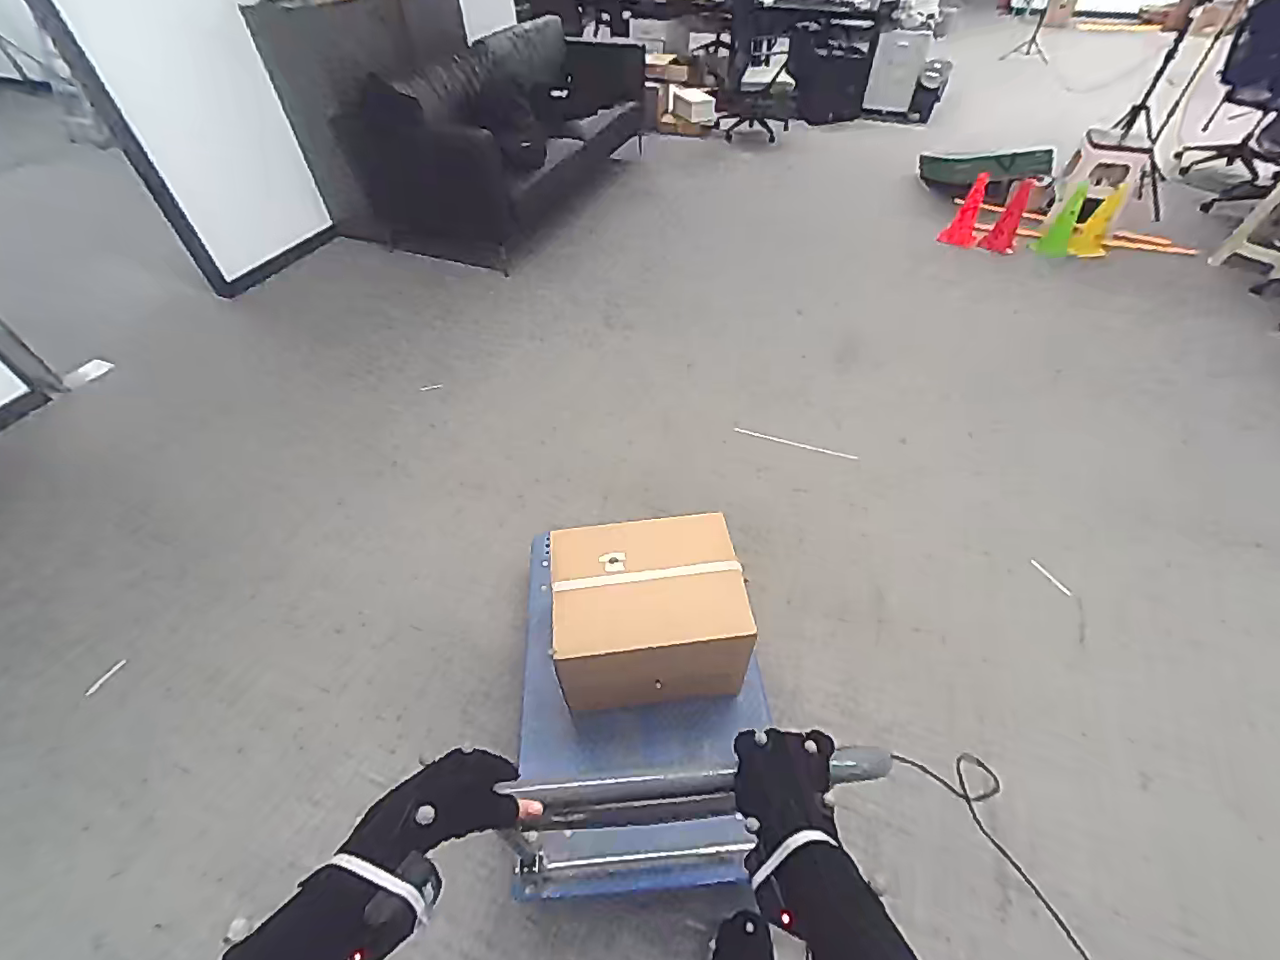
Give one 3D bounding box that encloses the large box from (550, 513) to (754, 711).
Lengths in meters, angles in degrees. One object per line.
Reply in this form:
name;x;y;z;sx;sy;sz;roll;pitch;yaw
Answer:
large box;0.016;0.311;1.264;0.408;0.320;0.320;-7;48;-4
